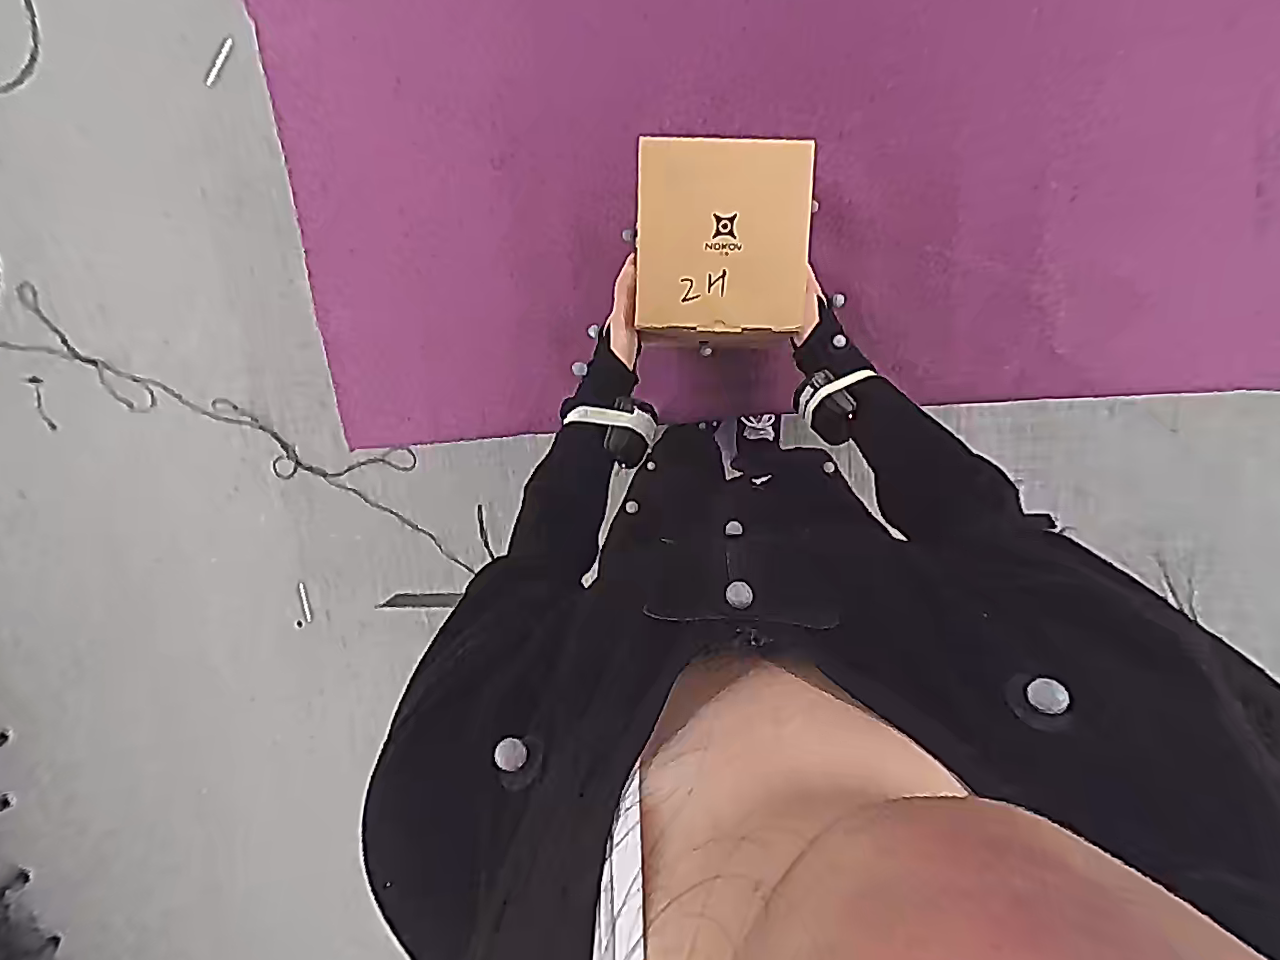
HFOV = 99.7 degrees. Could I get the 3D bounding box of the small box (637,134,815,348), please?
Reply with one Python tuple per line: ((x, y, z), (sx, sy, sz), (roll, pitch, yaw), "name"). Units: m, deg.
((0.081, -0.247, 0.596), (0.168, 0.176, 0.179), (2, 98, 1), "small box")
